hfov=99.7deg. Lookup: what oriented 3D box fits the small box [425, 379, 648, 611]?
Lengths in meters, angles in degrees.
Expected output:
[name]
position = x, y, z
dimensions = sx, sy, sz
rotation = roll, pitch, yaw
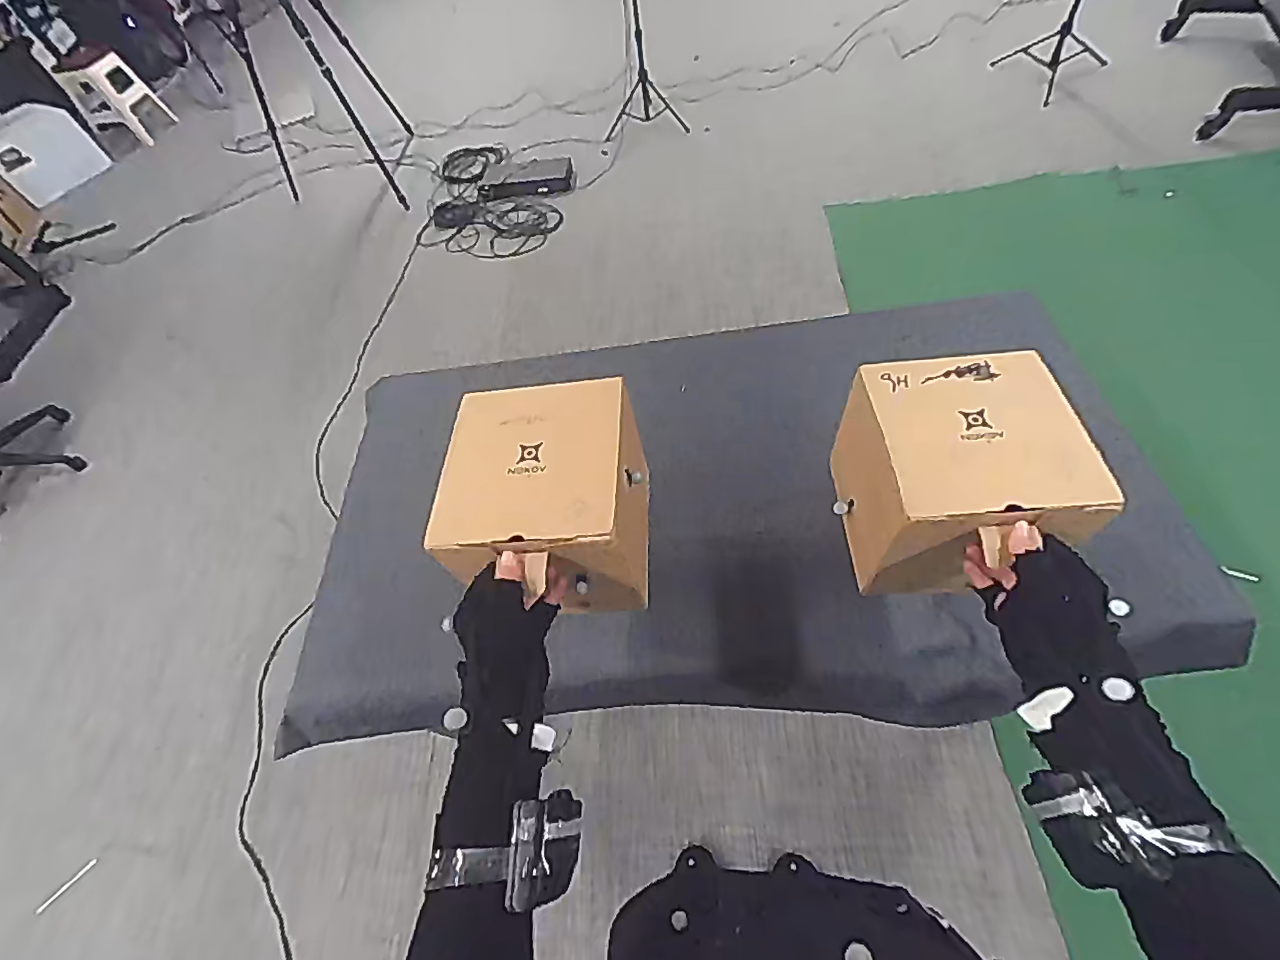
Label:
[small box]
position = -0.085, 0.026, 0.548
dimensions = 0.168, 0.176, 0.179
rotation = -4, 55, 8
